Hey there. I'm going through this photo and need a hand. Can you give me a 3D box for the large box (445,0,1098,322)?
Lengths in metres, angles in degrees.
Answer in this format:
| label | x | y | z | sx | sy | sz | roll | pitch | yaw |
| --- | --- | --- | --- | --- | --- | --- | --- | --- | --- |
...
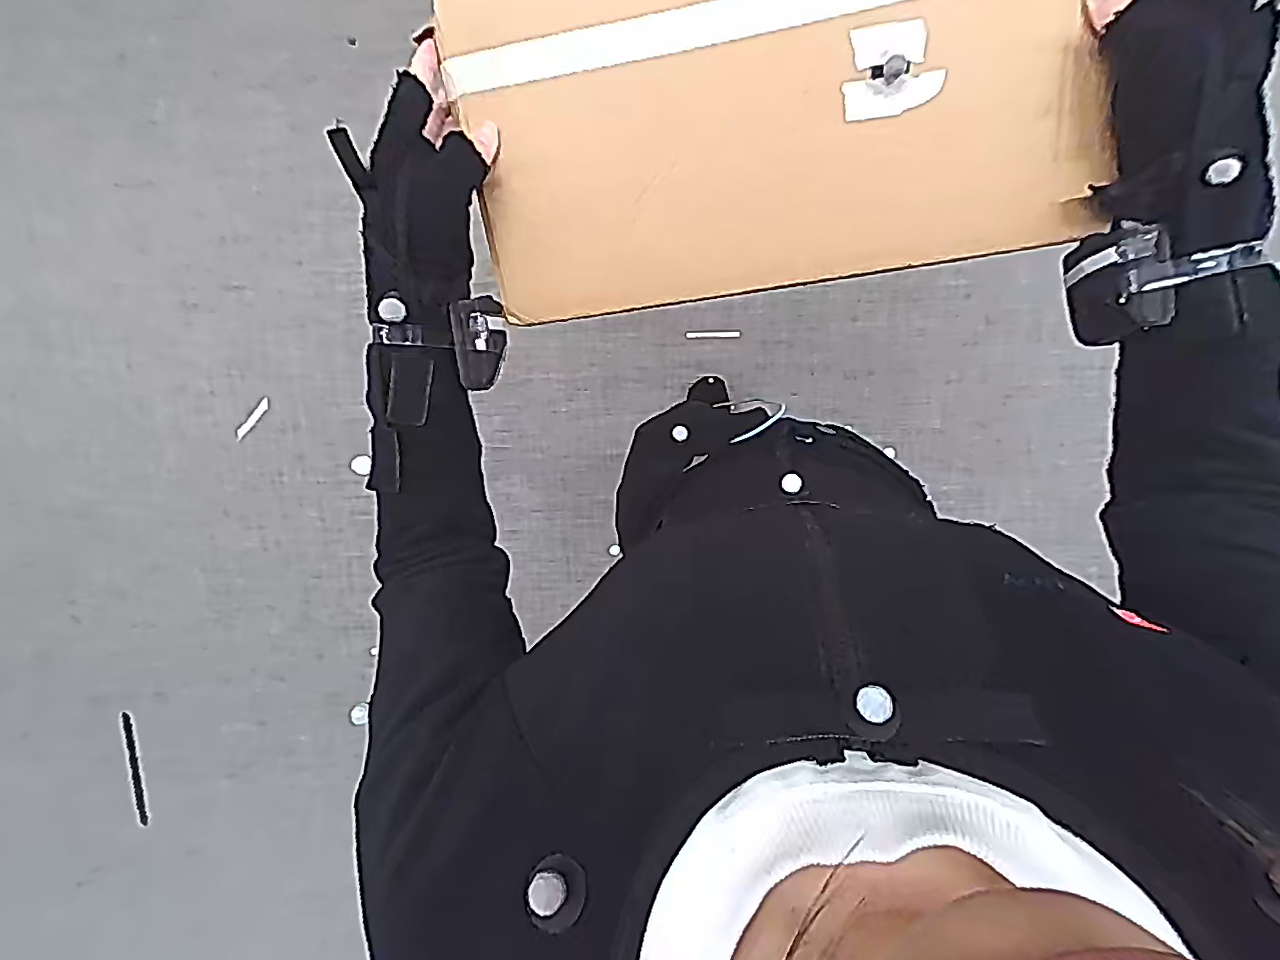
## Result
| label | x | y | z | sx | sy | sz | roll | pitch | yaw |
| --- | --- | --- | --- | --- | --- | --- | --- | --- | --- |
| large box | 0.085 | -0.337 | 0.482 | 0.408 | 0.320 | 0.320 | -7 | 109 | 7 |
